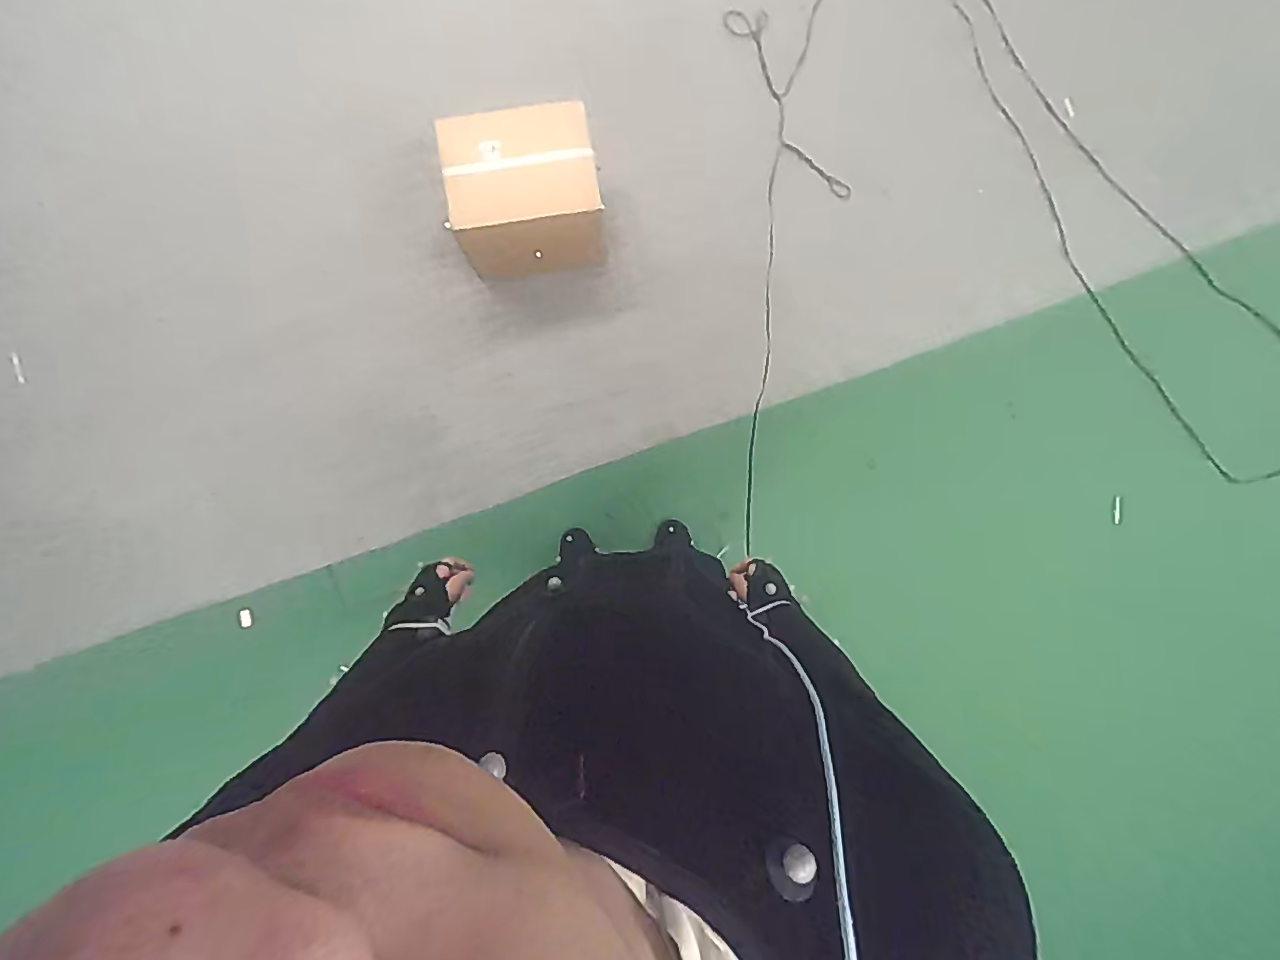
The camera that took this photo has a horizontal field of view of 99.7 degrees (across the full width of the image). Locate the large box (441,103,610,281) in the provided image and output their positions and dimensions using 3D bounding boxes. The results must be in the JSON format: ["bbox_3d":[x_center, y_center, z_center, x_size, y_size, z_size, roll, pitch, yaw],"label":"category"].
[{"bbox_3d":[-0.313,-0.820,1.584,0.408,0.320,0.320,-9,85,-1],"label":"large box"}]
